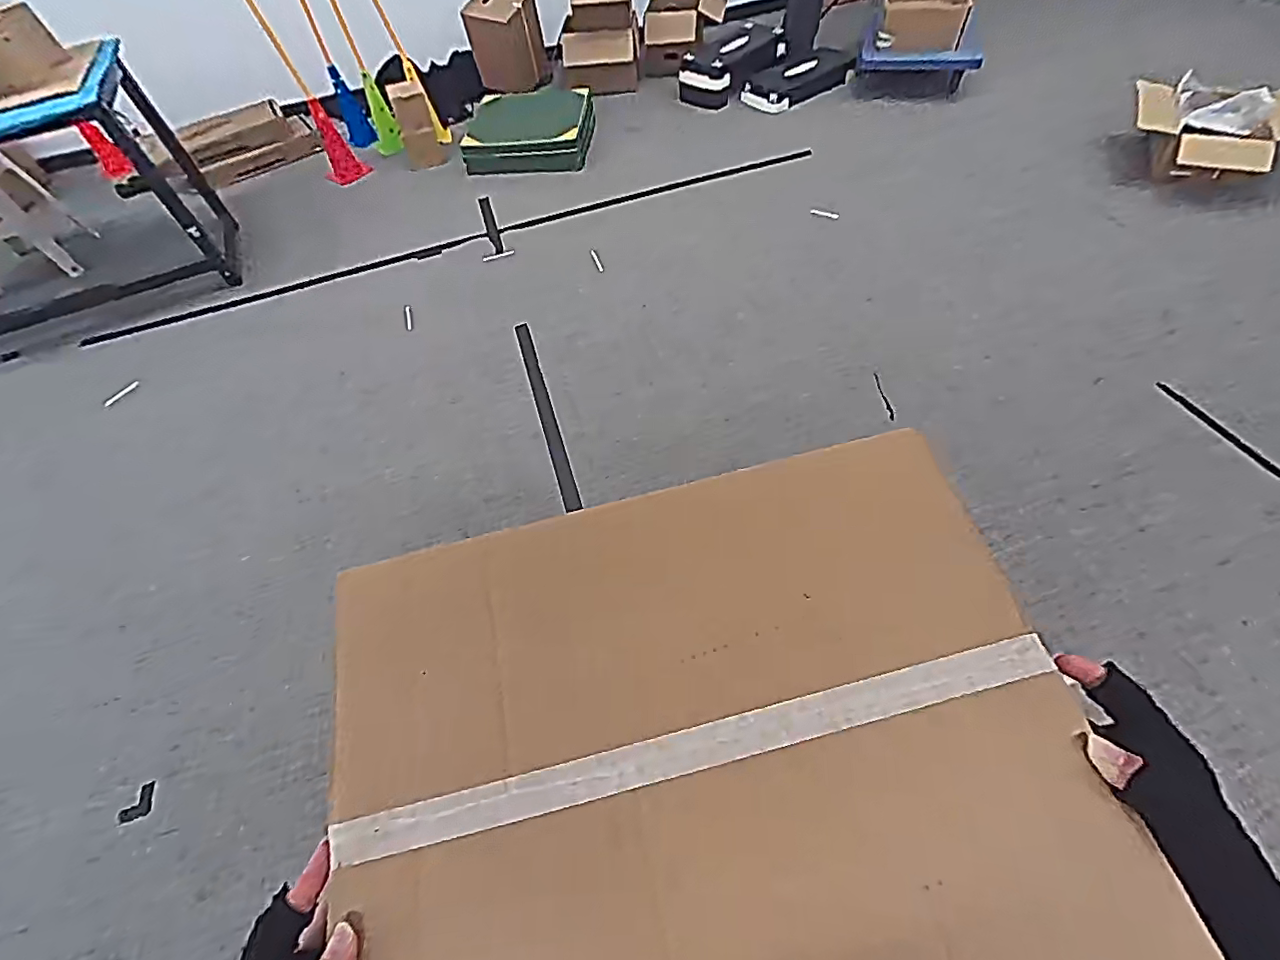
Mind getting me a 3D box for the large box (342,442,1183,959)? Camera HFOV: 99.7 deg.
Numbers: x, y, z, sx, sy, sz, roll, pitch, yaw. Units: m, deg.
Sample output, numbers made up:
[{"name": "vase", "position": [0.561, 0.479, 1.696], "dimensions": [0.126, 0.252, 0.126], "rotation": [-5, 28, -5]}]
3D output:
[{"name": "large box", "position": [0.042, 0.218, 0.441], "dimensions": [0.408, 0.320, 0.320], "rotation": [-15, 62, -2]}]
